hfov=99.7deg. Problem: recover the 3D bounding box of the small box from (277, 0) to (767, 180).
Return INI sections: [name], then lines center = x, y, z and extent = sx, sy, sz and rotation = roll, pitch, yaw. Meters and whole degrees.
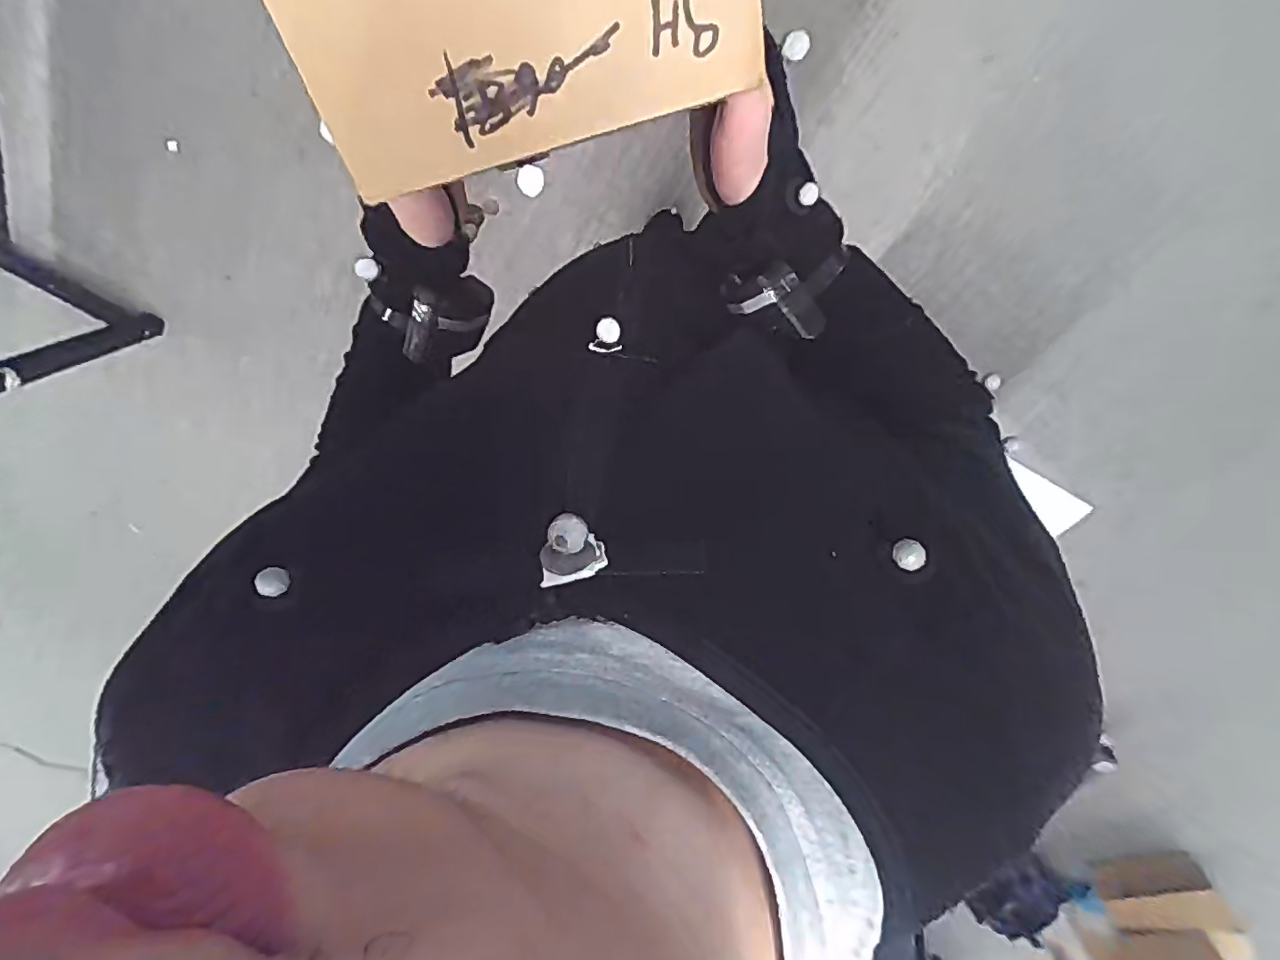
[small box]
center = -0.056, -0.248, 0.230
extent = 0.168, 0.176, 0.179
rotation = -14, 123, 6
